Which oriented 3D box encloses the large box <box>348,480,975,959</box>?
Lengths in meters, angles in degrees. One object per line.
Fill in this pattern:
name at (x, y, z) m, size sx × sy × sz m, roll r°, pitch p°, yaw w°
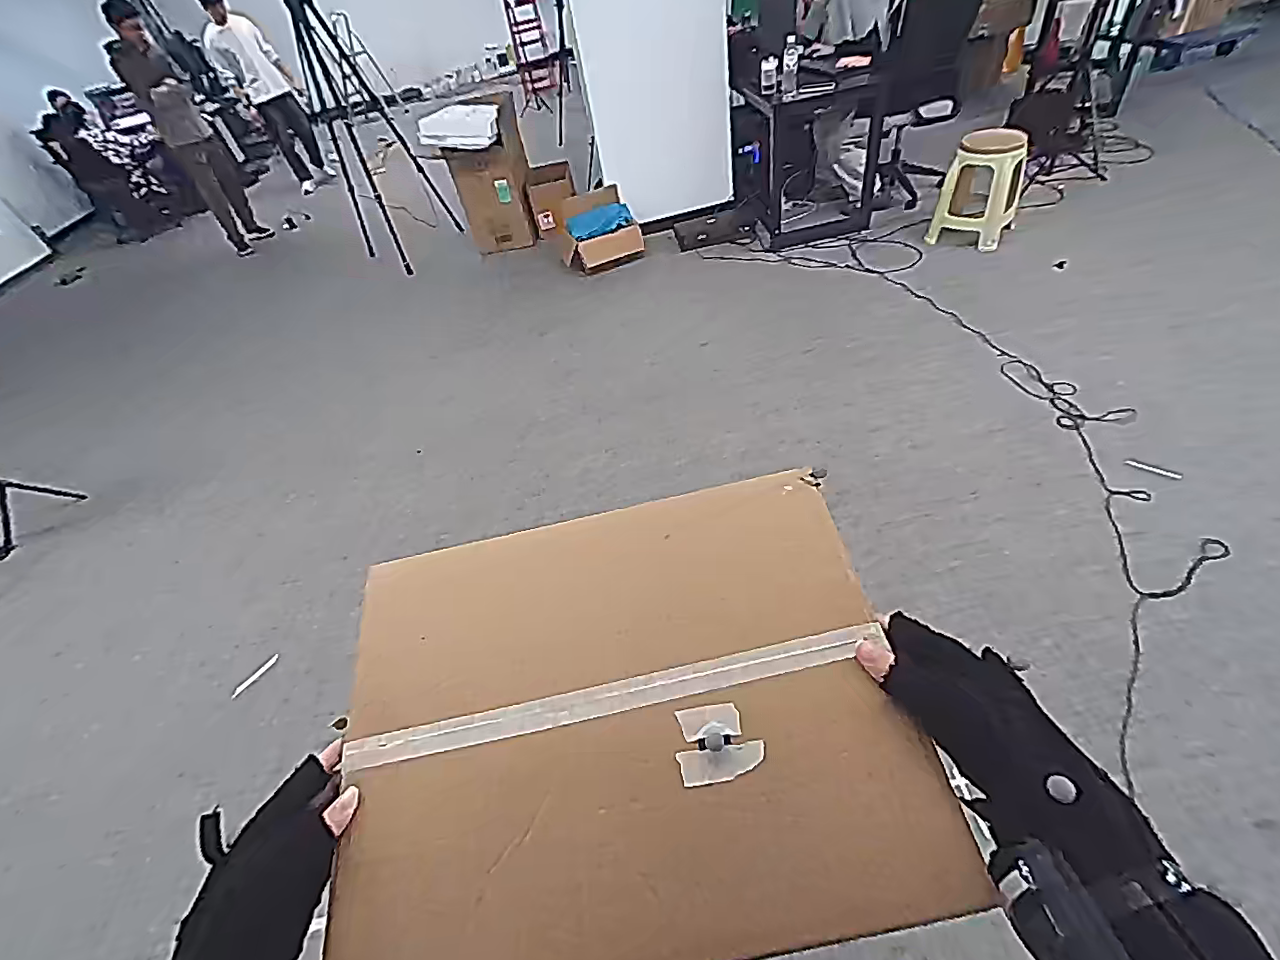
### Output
large box at (0.004, 0.249, 0.532) m, size 0.408 × 0.320 × 0.320 m, roll -13°, pitch 56°, yaw 0°
